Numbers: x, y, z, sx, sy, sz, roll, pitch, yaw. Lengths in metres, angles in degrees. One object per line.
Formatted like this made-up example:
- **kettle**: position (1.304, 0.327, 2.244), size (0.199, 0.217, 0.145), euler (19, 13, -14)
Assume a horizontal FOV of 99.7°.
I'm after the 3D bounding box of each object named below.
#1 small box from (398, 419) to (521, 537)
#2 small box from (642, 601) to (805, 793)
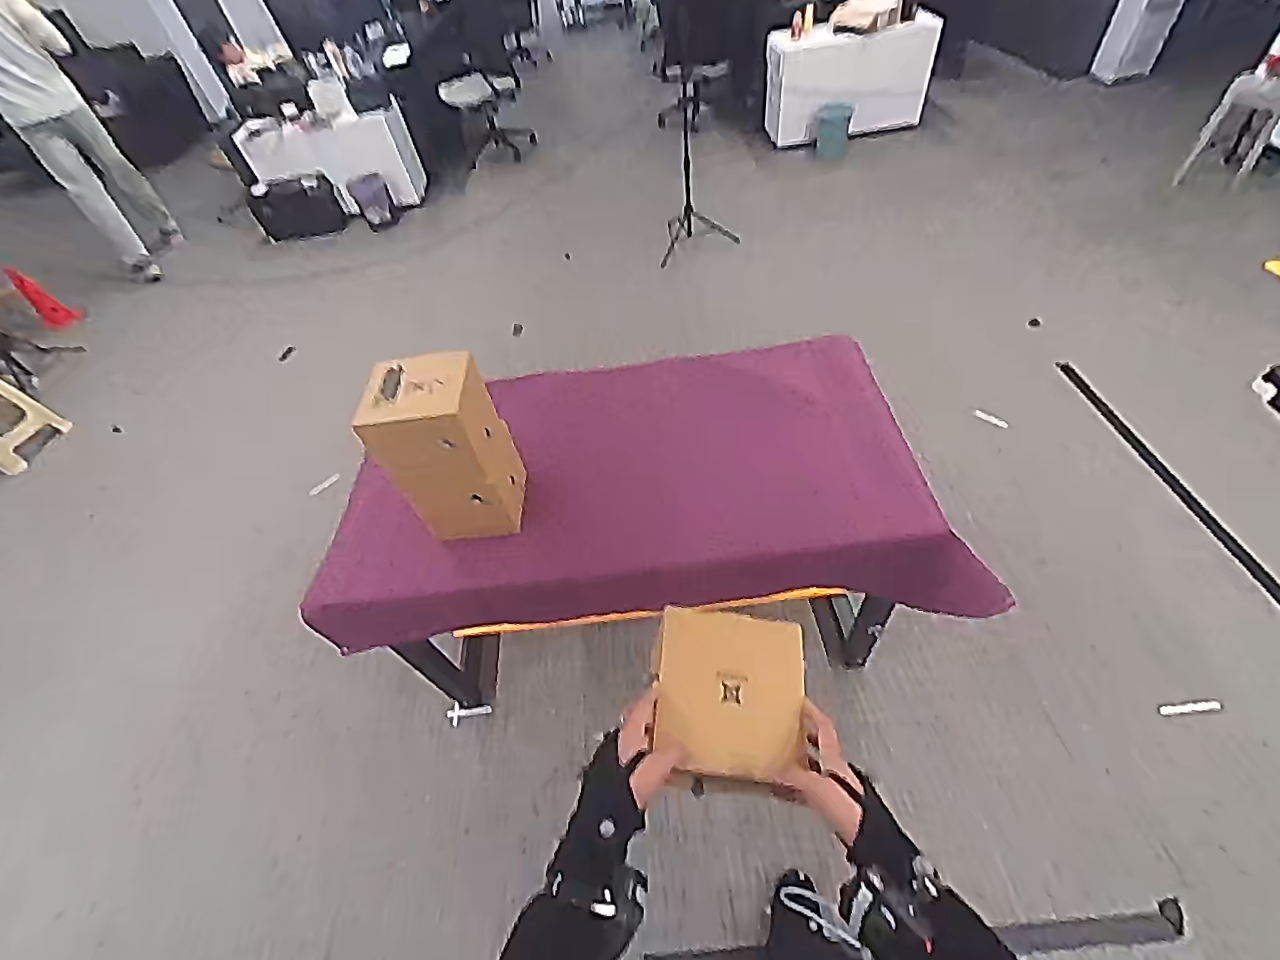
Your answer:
- **small box**: position (-0.349, -0.001, 1.087), size (0.179, 0.176, 0.168), euler (-6, 50, 3)
- **small box**: position (0.094, 0.271, 0.664), size (0.168, 0.176, 0.179), euler (7, 54, 1)
